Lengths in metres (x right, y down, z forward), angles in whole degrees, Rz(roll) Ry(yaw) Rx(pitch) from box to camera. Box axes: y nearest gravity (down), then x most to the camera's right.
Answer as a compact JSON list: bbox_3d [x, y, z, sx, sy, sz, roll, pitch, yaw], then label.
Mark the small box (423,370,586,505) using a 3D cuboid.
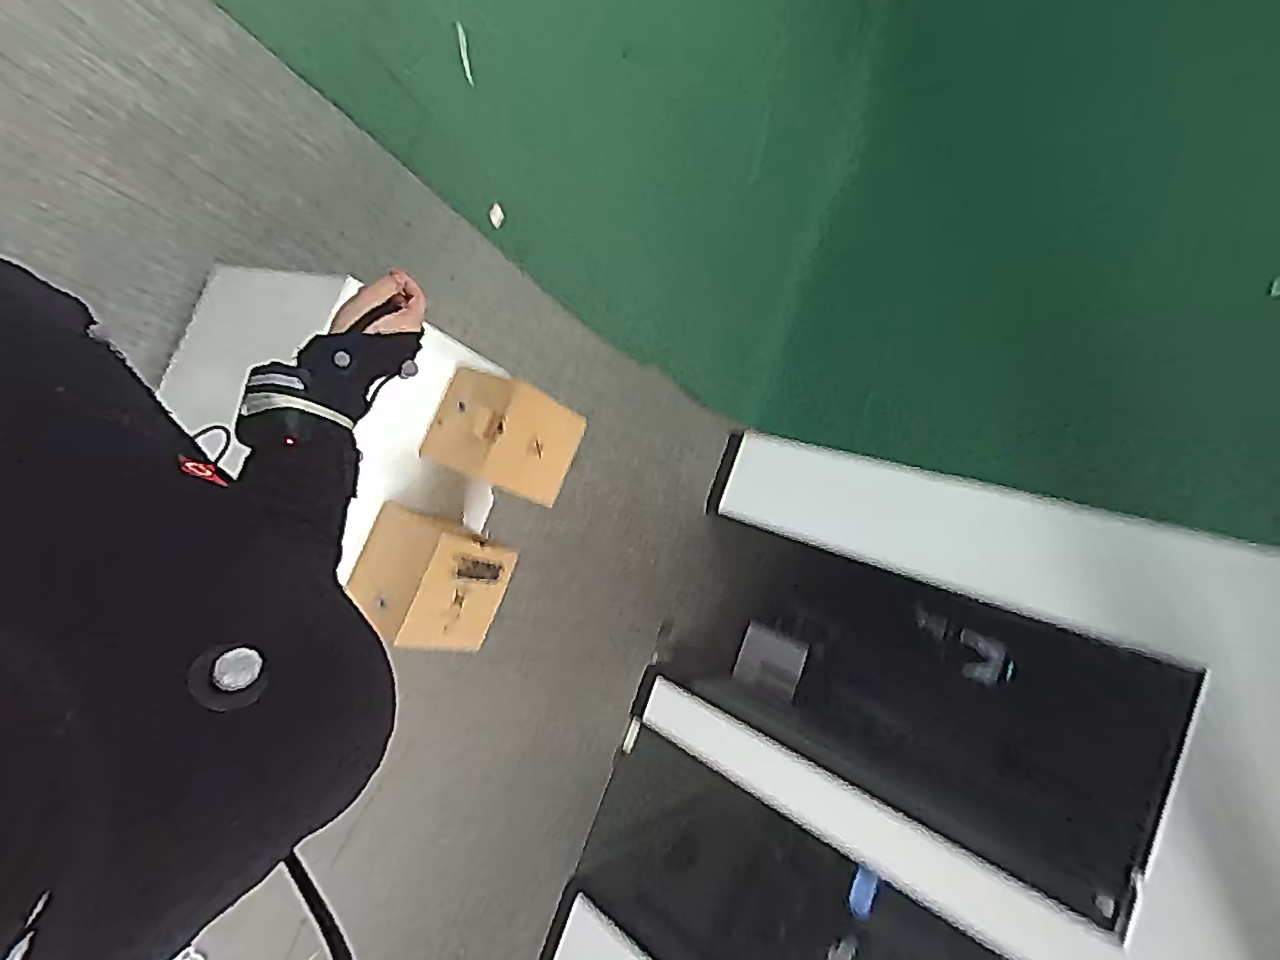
[{"bbox_3d":[-0.231,-0.075,0.931,0.179,0.176,0.168,29,82,-54],"label":"small box"}]
